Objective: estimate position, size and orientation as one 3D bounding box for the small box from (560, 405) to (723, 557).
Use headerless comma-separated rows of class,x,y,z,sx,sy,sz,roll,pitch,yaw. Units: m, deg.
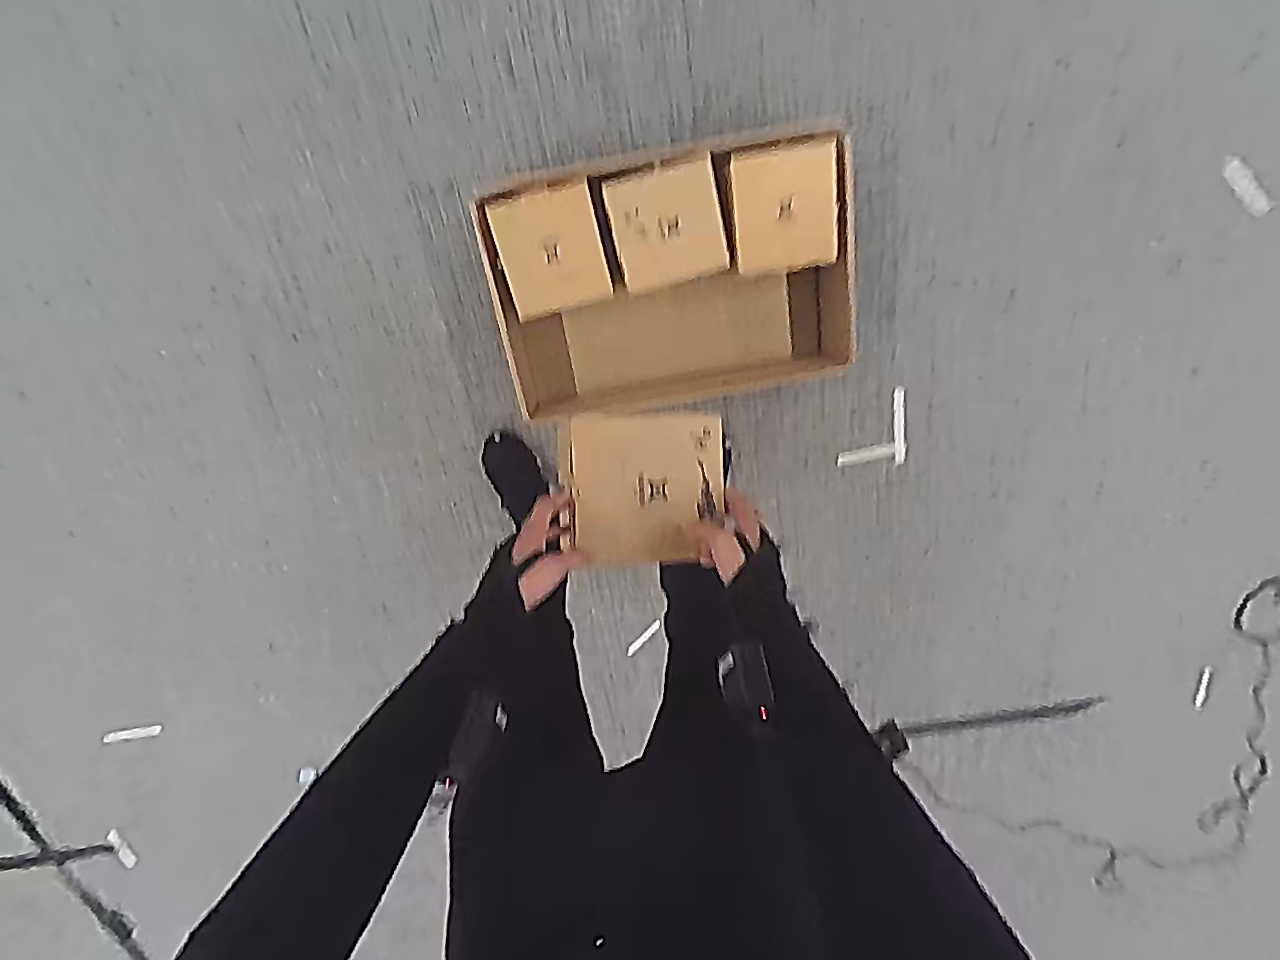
small box,-0.009,-0.002,0.673,0.179,0.176,0.168,-3,93,-12
